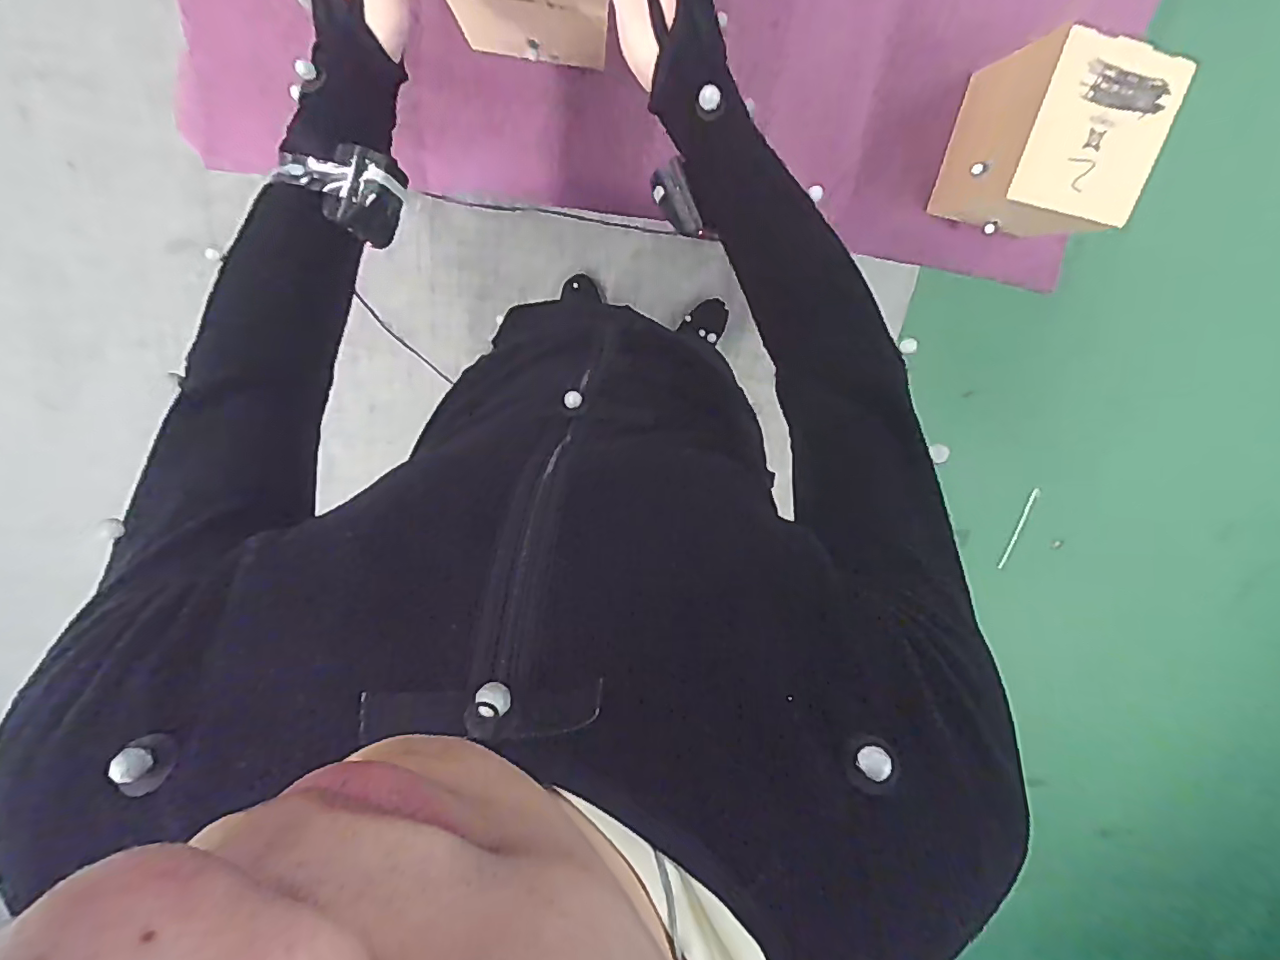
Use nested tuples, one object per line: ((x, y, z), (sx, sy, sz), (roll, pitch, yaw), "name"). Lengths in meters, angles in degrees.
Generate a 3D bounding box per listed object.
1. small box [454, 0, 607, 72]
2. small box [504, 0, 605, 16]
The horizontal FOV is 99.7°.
((-0.114, -0.578, 0.578), (0.168, 0.176, 0.179), (4, 111, -7), "small box")
((-0.099, -0.519, 0.425), (0.168, 0.176, 0.179), (4, 111, -6), "small box")
